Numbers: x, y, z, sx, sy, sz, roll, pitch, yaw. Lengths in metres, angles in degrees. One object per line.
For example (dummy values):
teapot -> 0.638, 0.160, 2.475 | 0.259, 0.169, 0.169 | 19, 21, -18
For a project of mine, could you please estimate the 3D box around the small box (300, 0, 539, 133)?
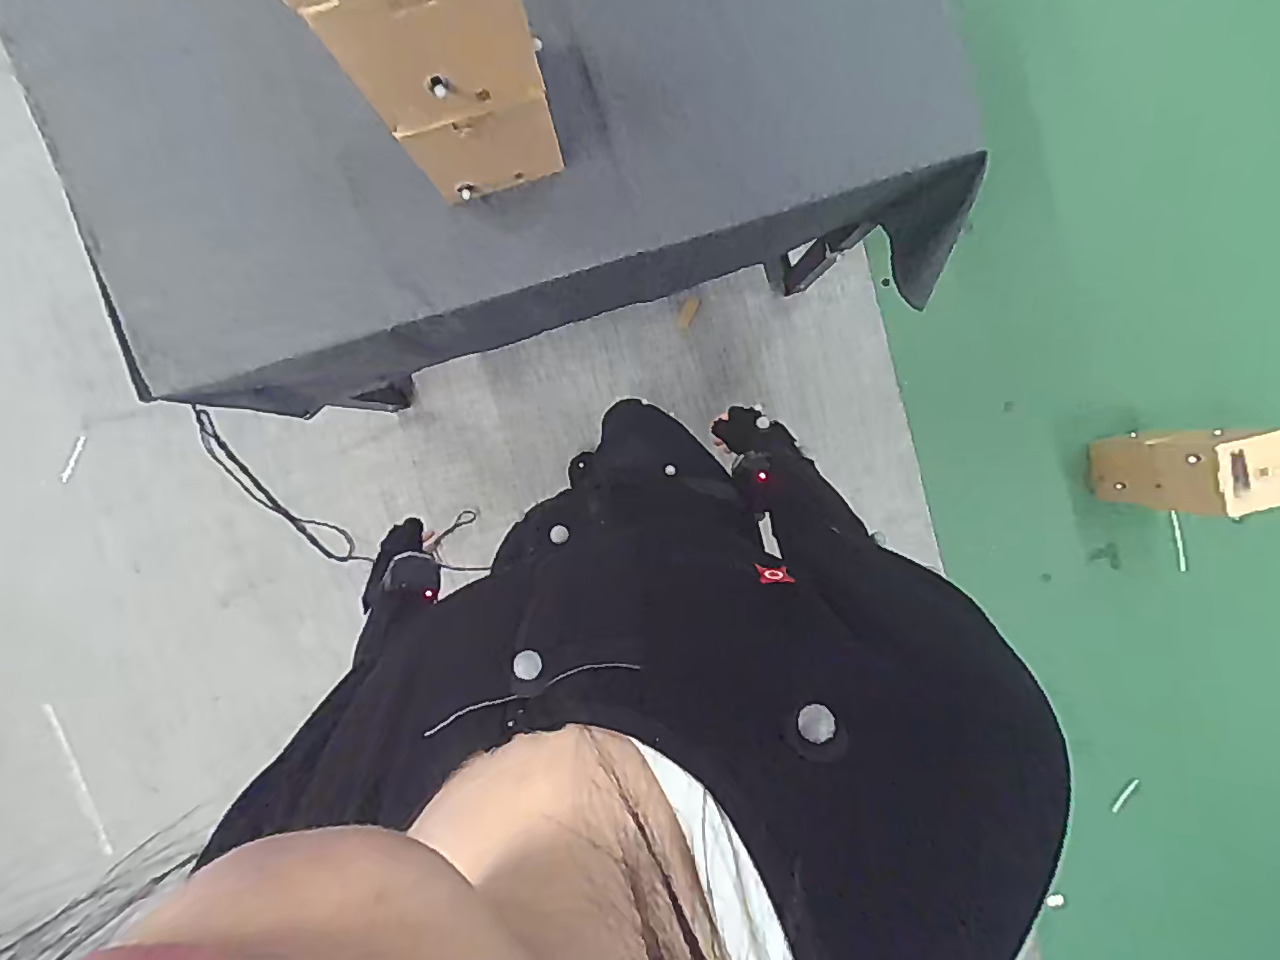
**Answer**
small box -> -0.203, -0.463, 0.486 | 0.168, 0.176, 0.179 | -17, 94, 1

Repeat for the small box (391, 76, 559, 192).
small box -> -0.205, -0.475, 0.647 | 0.168, 0.176, 0.179 | -17, 93, 1

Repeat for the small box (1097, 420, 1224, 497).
small box -> 1.345, -0.057, 1.413 | 0.179, 0.176, 0.168 | -12, 95, 1
